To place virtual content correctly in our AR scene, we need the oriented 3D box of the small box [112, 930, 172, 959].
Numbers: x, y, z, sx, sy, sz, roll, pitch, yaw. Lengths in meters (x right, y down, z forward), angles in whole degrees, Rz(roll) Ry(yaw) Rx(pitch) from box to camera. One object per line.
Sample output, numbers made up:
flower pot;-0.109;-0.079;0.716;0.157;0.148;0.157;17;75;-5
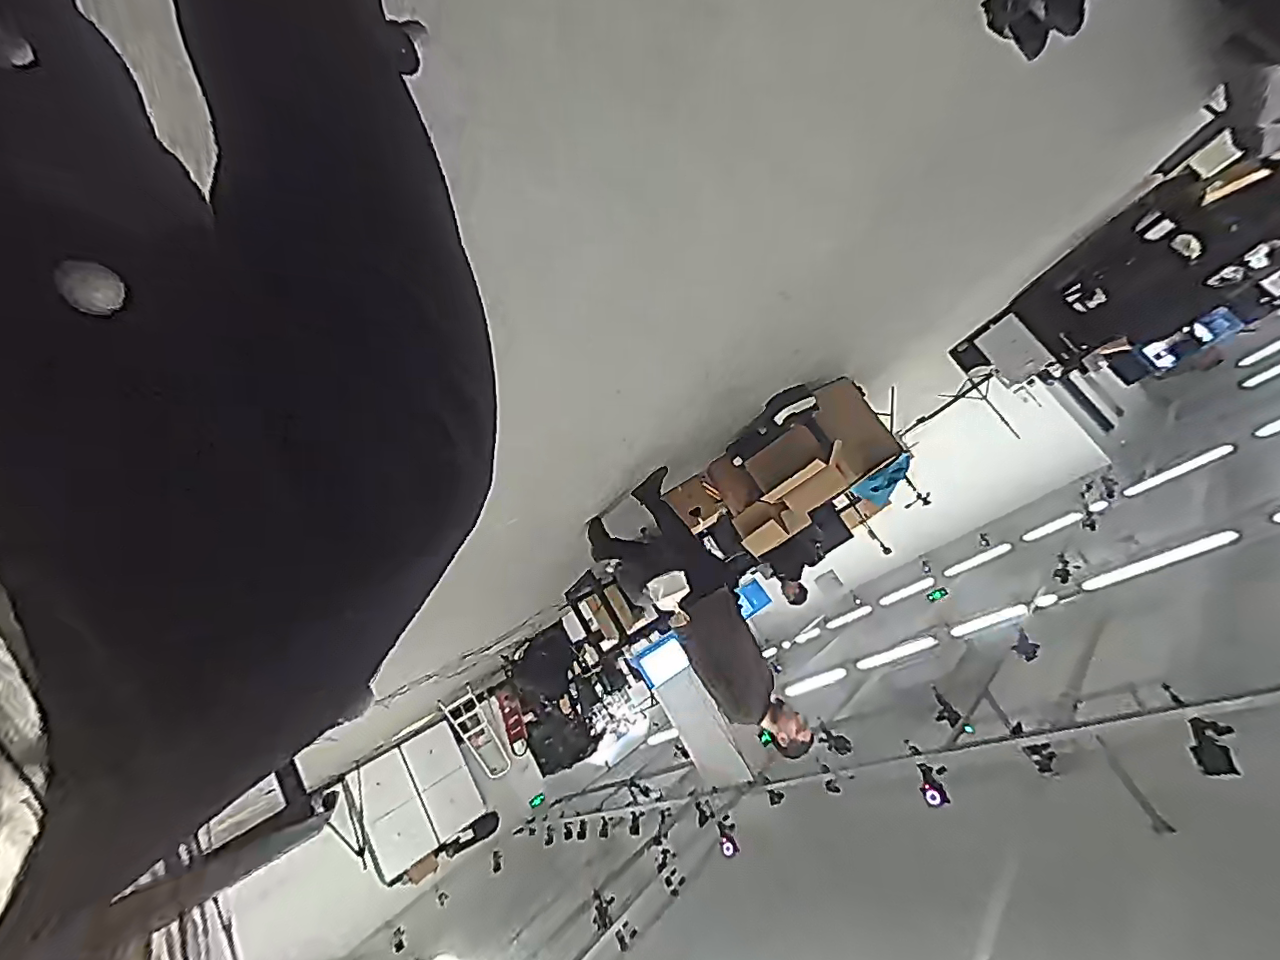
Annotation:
small box;-1.451;1.432;1.537;0.179;0.176;0.168;-18;161;-43
